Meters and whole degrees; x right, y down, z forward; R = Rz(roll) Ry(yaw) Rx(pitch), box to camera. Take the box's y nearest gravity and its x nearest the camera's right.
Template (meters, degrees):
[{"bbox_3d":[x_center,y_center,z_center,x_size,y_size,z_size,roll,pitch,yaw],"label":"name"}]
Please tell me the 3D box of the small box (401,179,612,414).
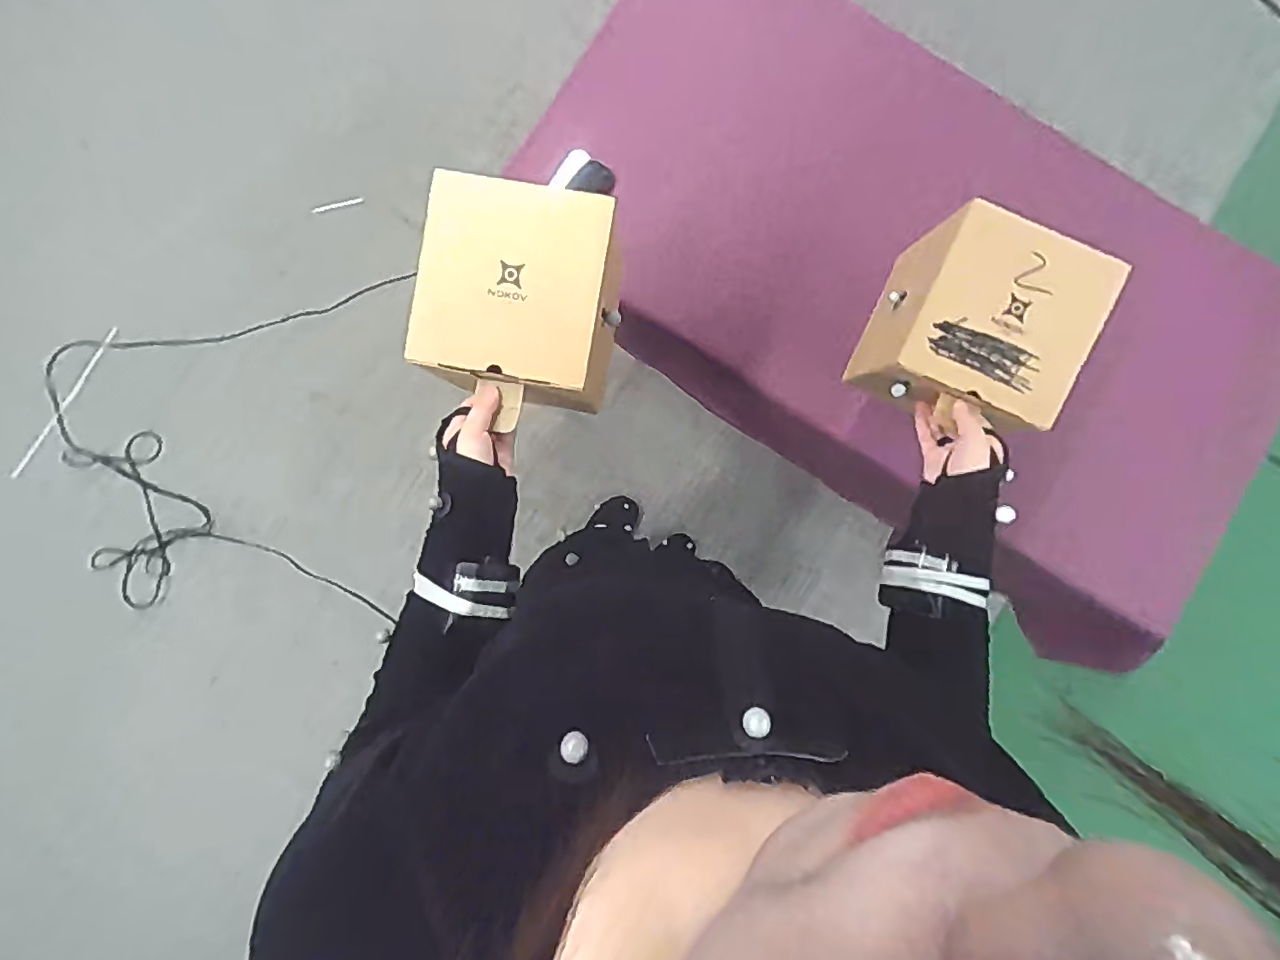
[{"bbox_3d":[-0.123,-0.175,0.568,0.168,0.176,0.179,9,91,0],"label":"small box"}]
